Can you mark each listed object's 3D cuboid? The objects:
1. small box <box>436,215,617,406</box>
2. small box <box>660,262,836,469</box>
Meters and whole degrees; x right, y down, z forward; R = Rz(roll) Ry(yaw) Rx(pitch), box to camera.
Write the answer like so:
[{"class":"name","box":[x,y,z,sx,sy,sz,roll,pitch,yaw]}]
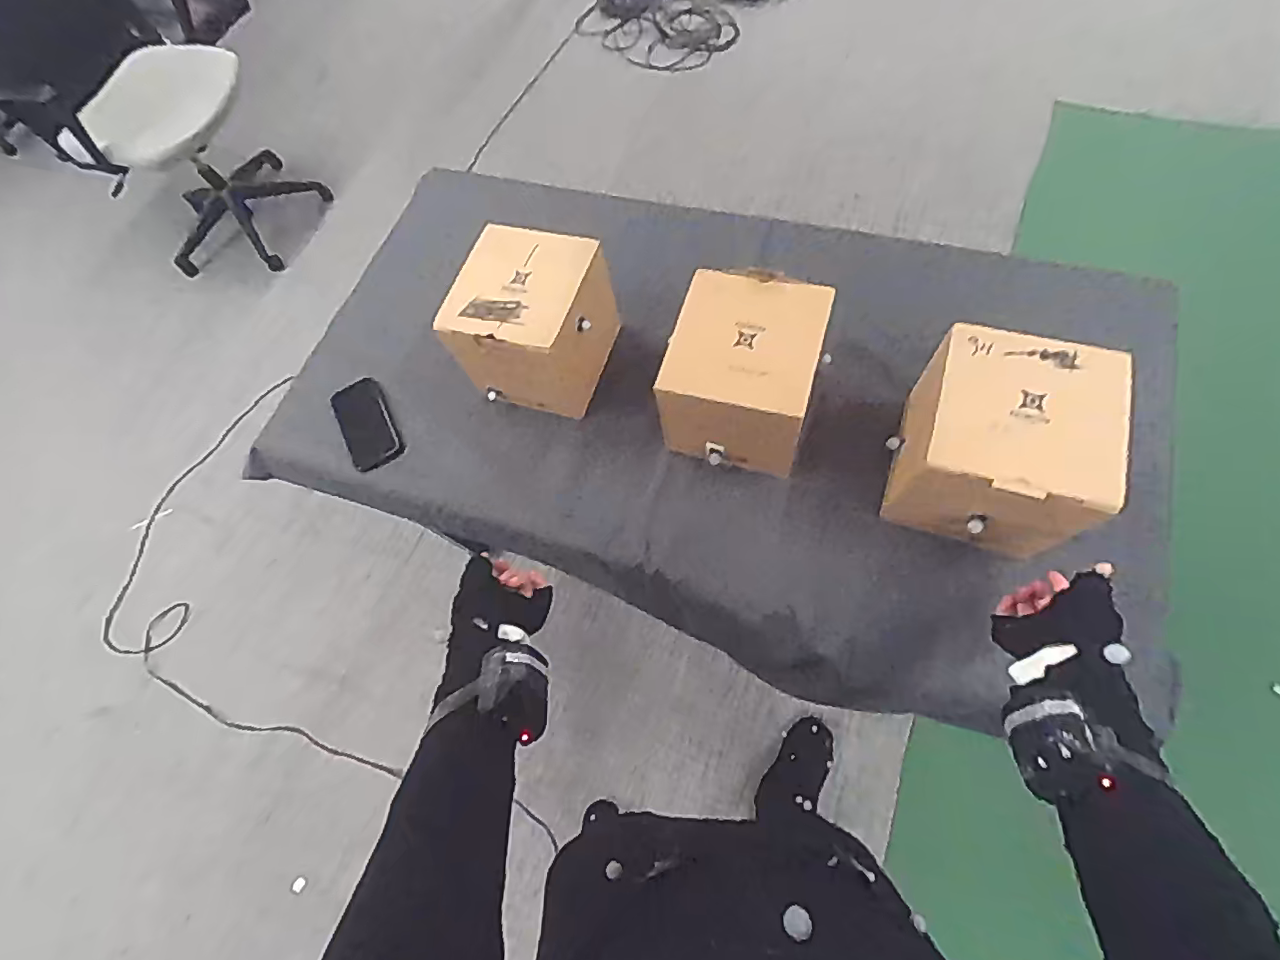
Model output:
[{"class":"small box","box":[-0.141,-0.227,0.750,0.168,0.176,0.179,15,70,13]},{"class":"small box","box":[0.133,-0.138,0.681,0.168,0.176,0.179,14,71,14]}]
